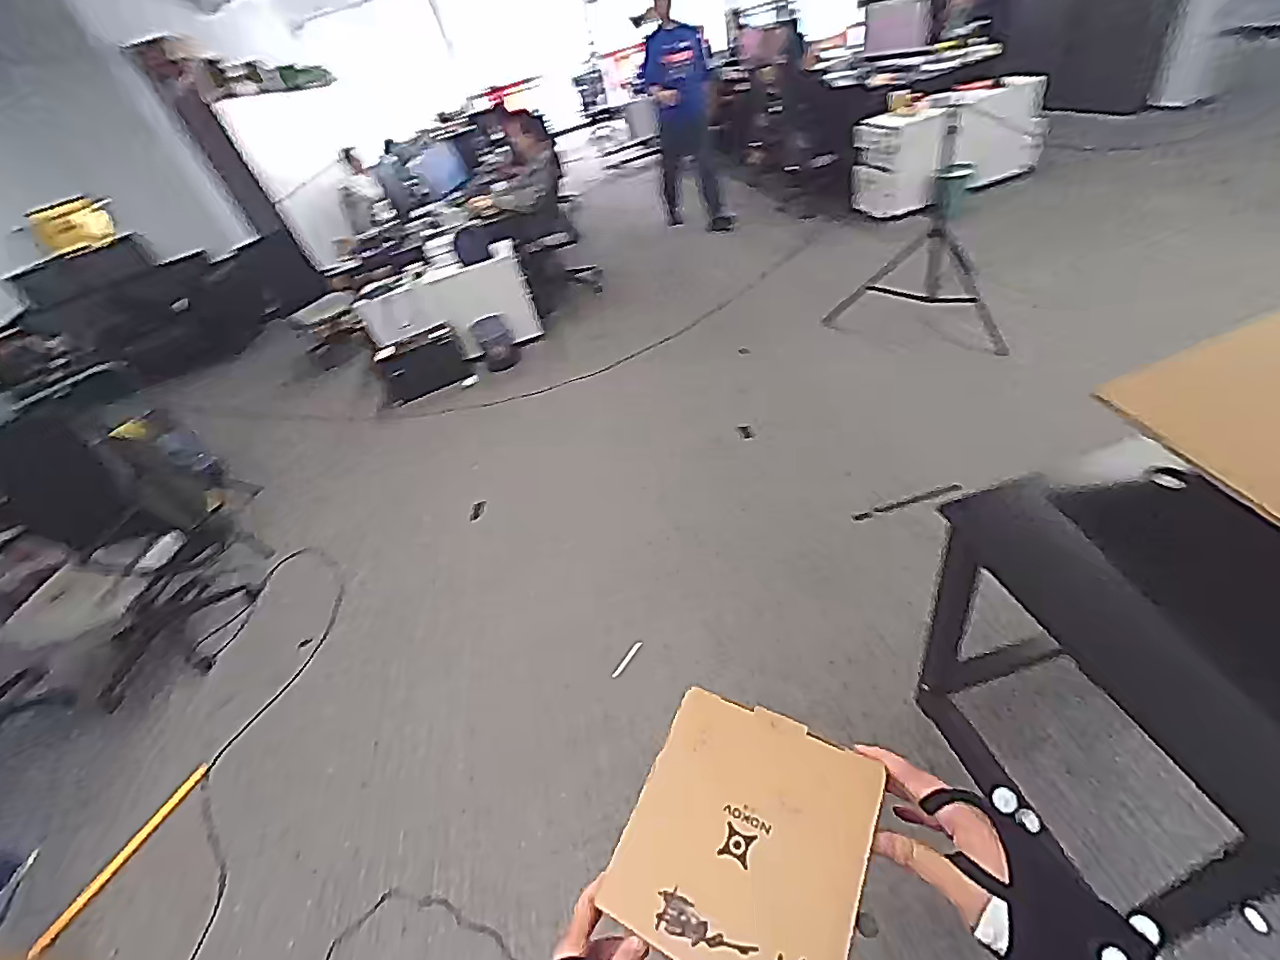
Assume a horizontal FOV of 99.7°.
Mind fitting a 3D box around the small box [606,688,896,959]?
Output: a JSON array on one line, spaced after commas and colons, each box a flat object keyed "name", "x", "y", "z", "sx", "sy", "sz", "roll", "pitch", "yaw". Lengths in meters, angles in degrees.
[{"name": "small box", "x": 0.100, "y": 0.316, "z": 0.450, "sx": 0.168, "sy": 0.176, "sz": 0.179, "roll": 13, "pitch": 51, "yaw": 30}]
